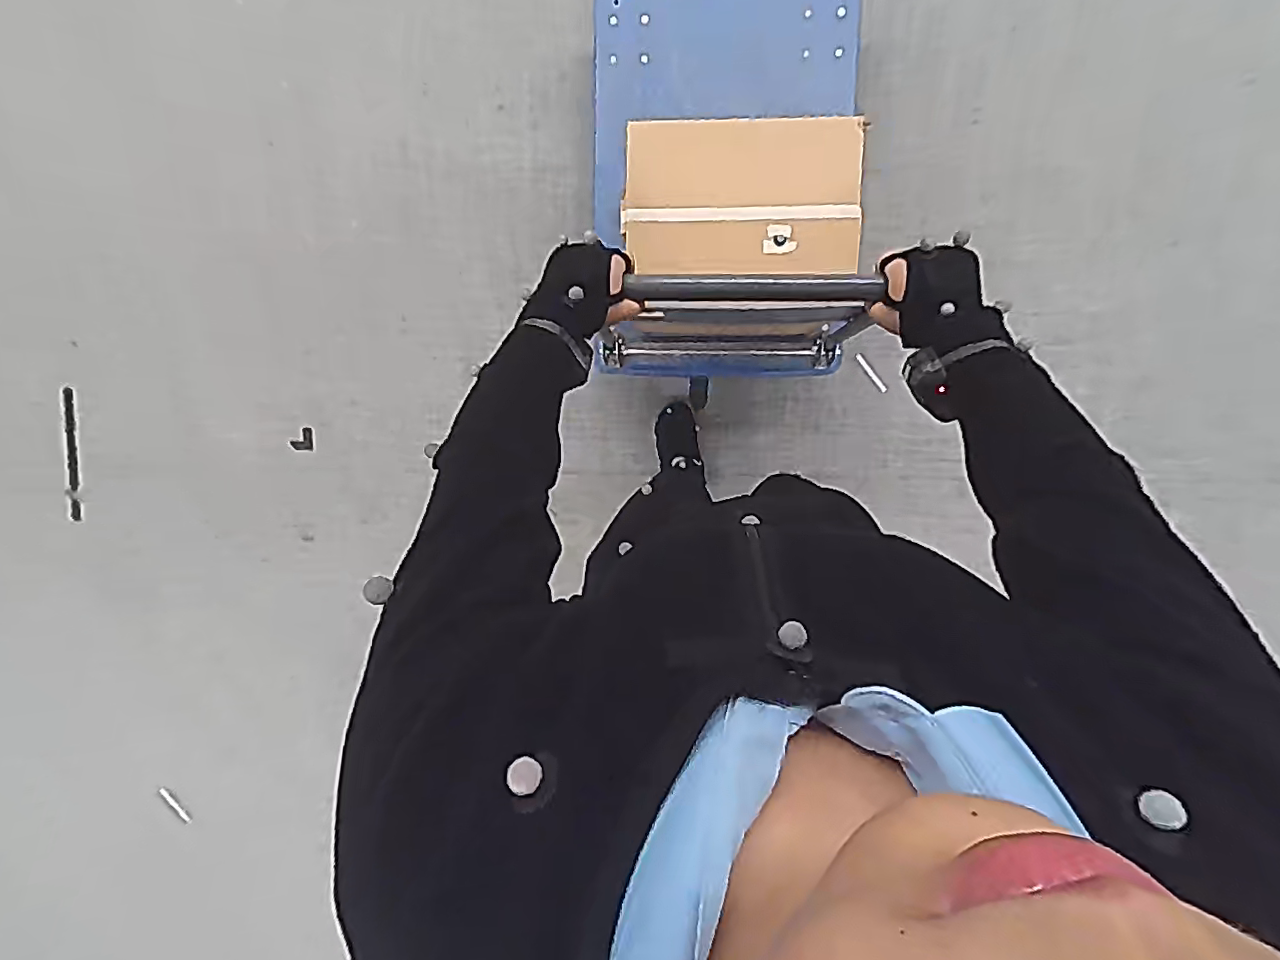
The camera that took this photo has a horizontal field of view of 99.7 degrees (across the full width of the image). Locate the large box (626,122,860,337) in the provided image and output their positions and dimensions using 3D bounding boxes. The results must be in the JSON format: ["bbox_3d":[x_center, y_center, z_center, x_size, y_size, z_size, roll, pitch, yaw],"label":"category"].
[{"bbox_3d":[0.182,-0.471,1.088,0.408,0.320,0.320,1,97,3],"label":"large box"}]
